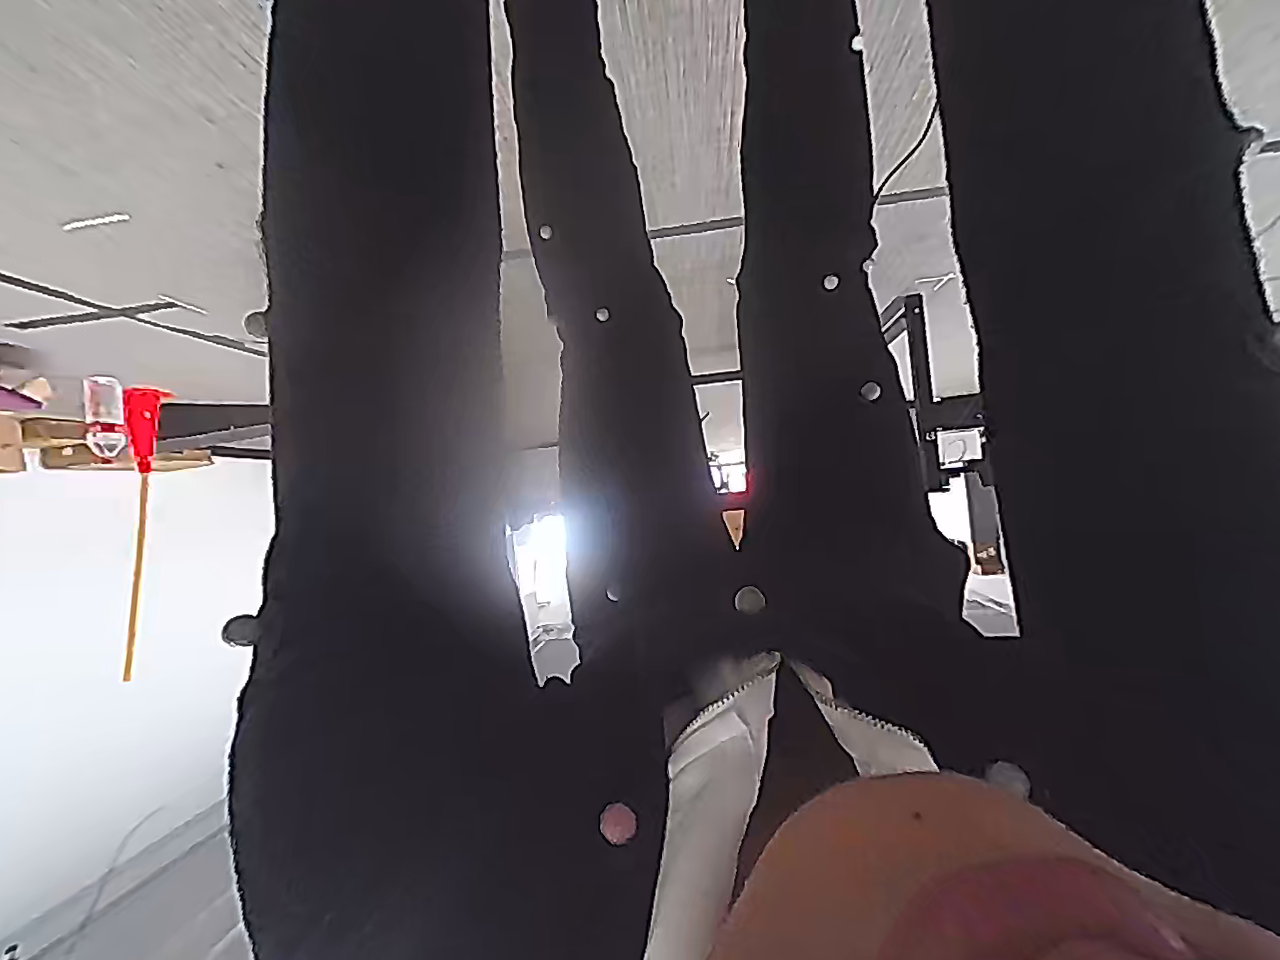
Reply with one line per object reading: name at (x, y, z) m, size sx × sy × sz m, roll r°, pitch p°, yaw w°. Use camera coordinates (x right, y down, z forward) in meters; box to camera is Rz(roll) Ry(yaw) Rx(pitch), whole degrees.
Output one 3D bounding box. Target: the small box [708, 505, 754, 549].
small box at (0.397, 0.200, 2.360) m, size 0.179 × 0.176 × 0.168 m, roll -7°, pitch 178°, yaw 11°
